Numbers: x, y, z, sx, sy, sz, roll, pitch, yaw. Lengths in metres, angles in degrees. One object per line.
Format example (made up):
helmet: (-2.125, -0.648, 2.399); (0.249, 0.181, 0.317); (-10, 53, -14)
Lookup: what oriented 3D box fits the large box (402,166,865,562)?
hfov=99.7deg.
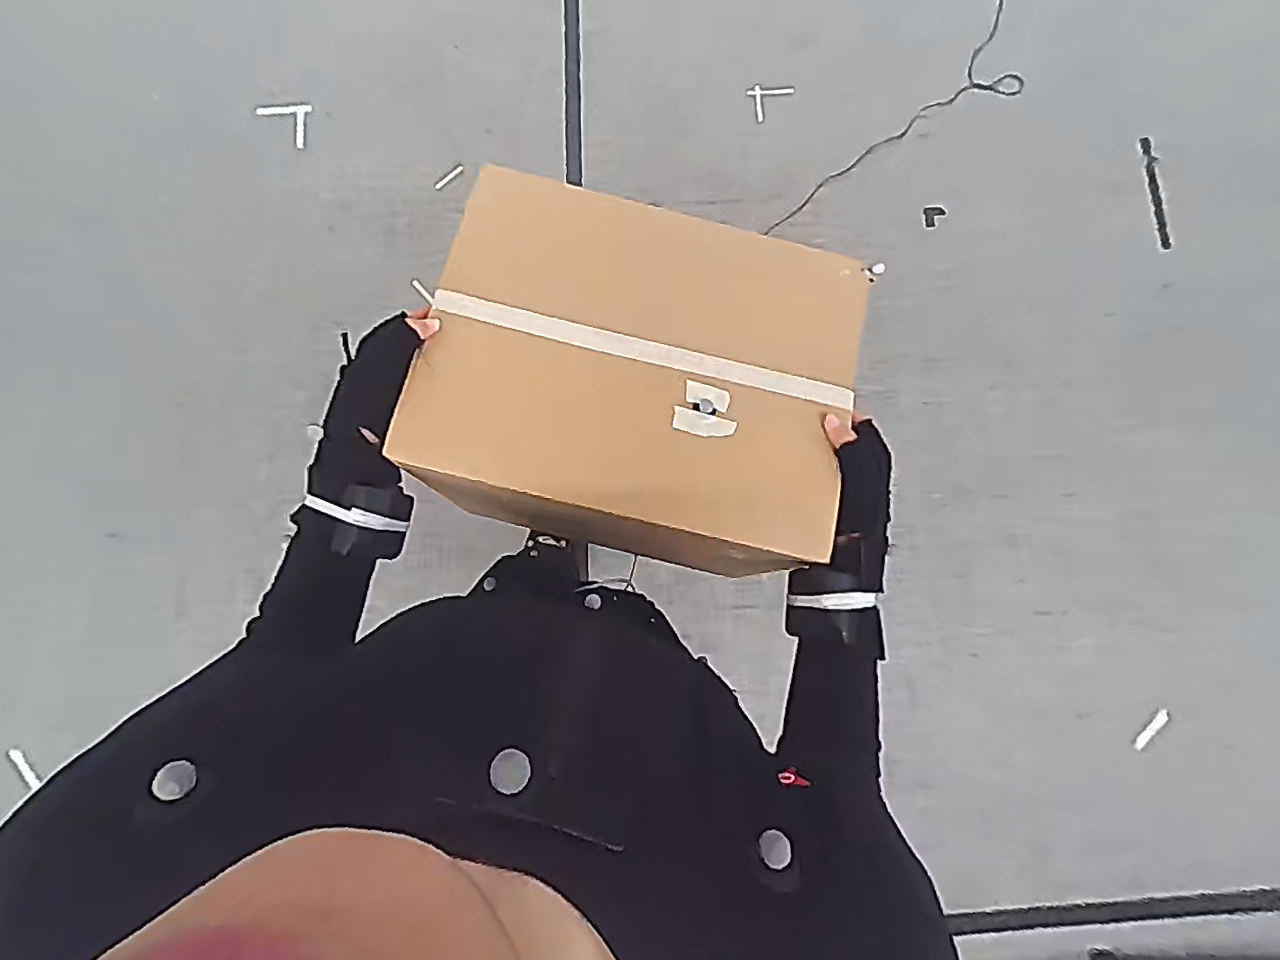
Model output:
large box: (-0.004, -0.100, 0.667); (0.408, 0.320, 0.320); (15, 78, -2)
